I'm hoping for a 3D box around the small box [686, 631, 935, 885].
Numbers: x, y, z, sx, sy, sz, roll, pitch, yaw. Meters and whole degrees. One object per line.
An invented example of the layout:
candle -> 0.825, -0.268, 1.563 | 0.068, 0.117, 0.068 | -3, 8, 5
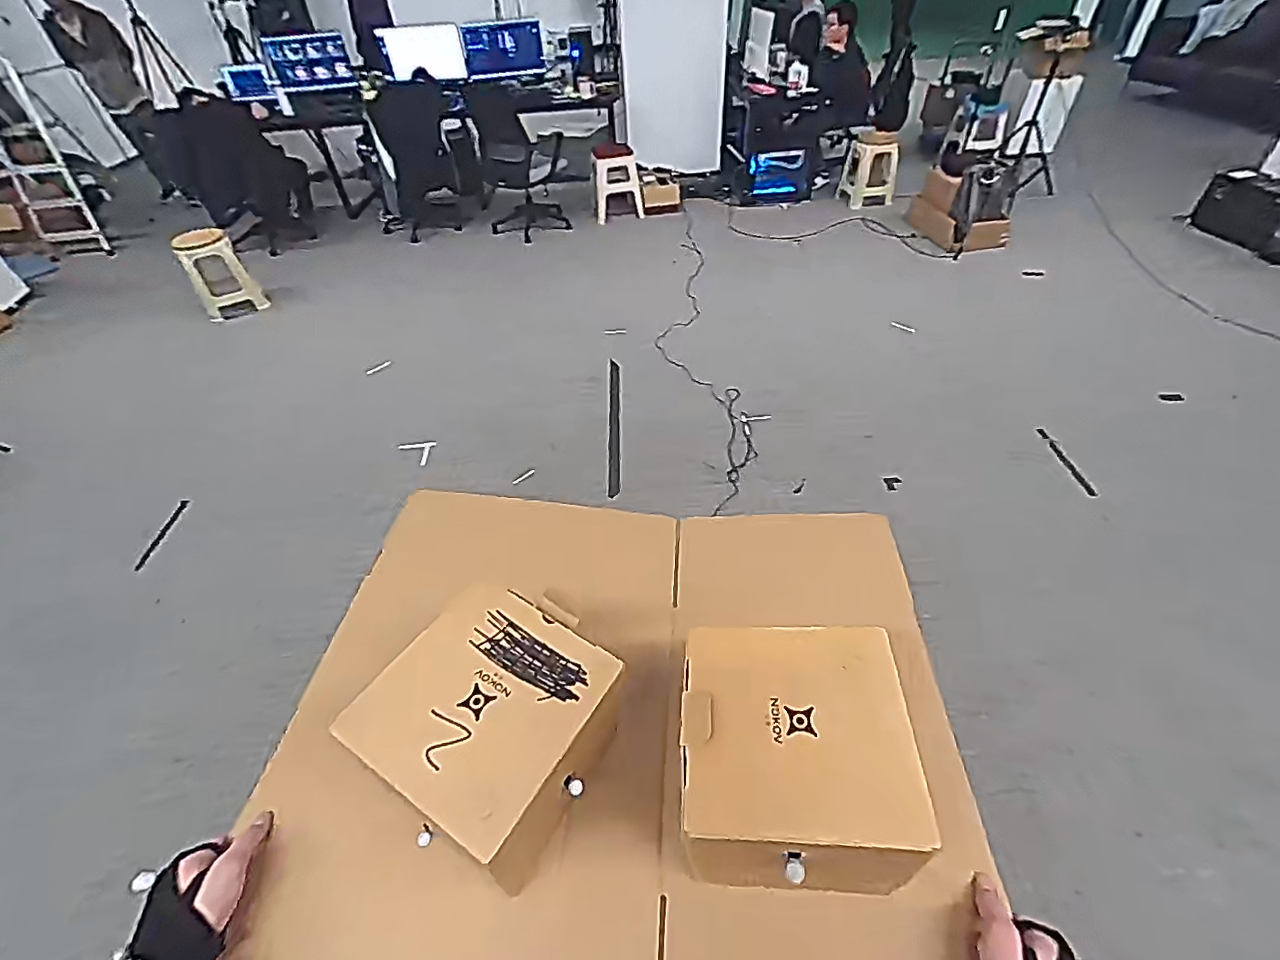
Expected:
small box -> 0.137, 0.255, 0.497 | 0.179, 0.176, 0.168 | -3, 44, 9
